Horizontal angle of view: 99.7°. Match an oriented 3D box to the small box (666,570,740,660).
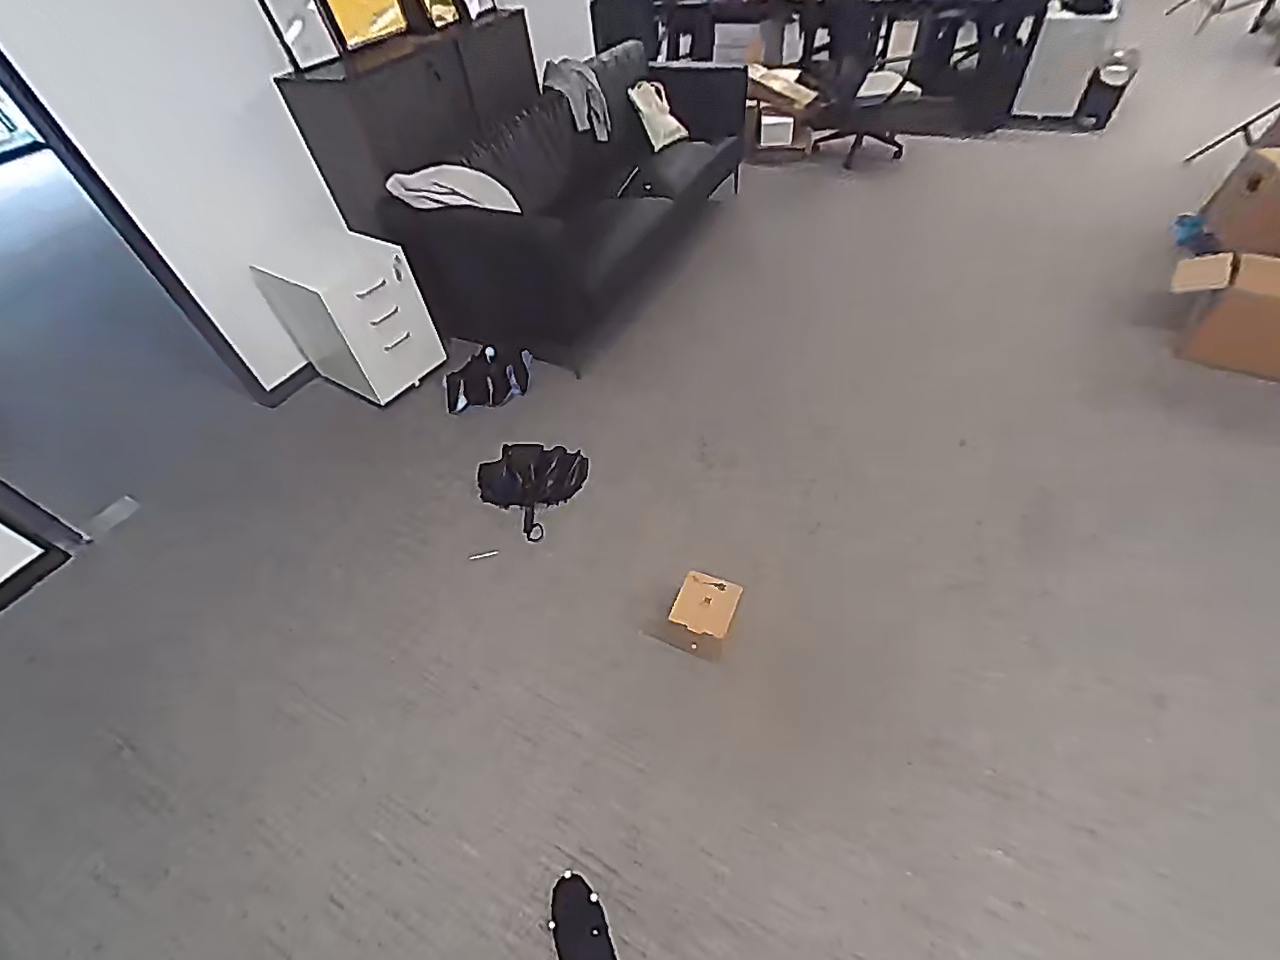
[{"bbox_3d":[0.190,0.402,1.593,0.168,0.176,0.179,16,53,20],"label":"small box"}]
